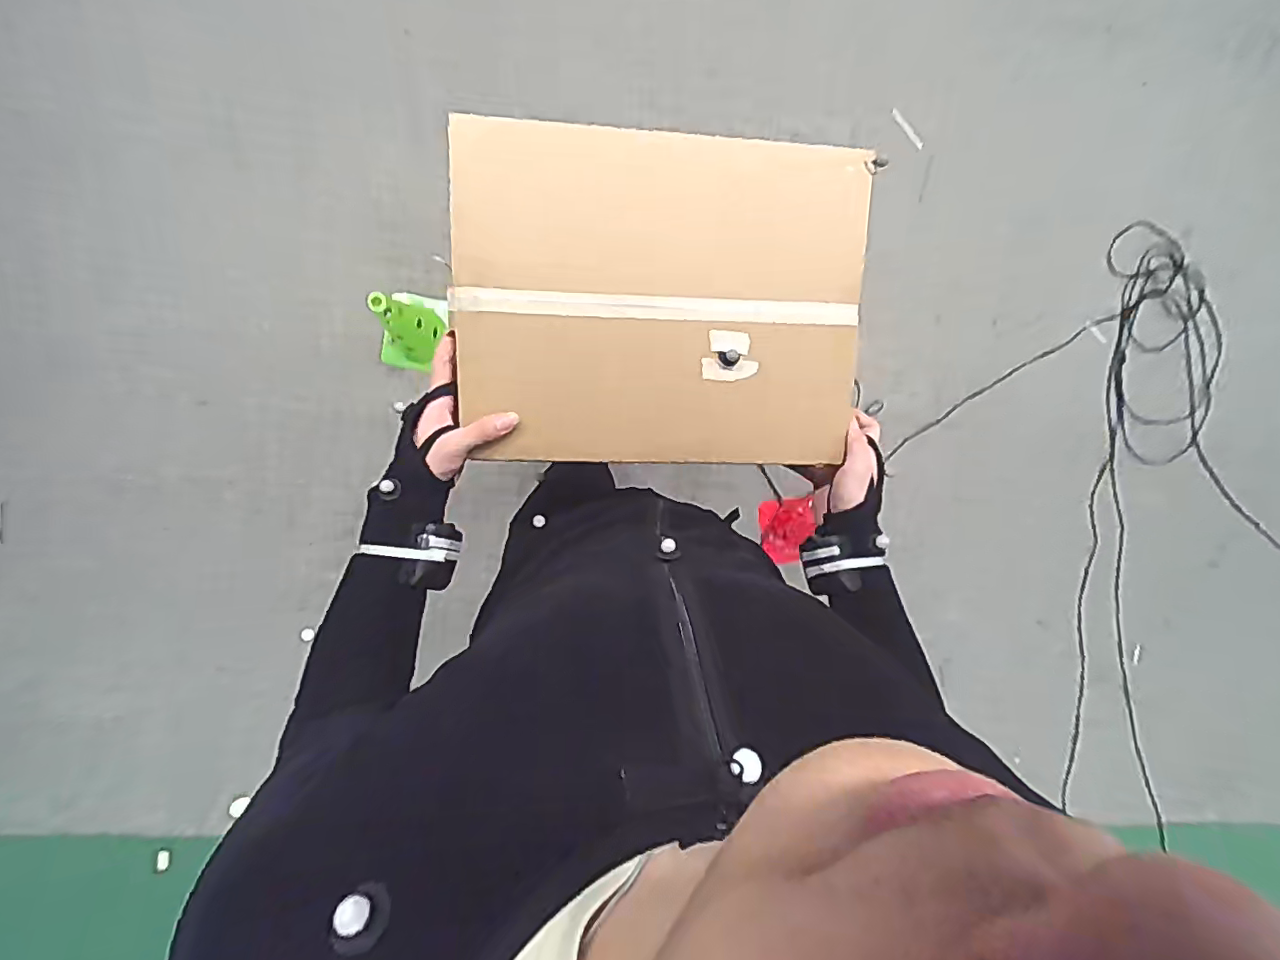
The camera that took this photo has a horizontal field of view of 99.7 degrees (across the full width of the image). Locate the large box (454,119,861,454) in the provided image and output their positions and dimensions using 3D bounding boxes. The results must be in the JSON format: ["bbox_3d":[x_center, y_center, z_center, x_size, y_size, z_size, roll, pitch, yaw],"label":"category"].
[{"bbox_3d":[0.004,-0.208,0.689,0.408,0.320,0.320,0,101,-7],"label":"large box"}]

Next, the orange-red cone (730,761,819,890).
[{"bbox_3d":[0.414,0.998,1.530,0.199,0.360,0.198,11,93,-8],"label":"orange-red cone"}]

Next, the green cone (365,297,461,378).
[{"bbox_3d":[-0.597,-0.384,1.345,0.200,0.368,0.202,9,93,-6],"label":"green cone"}]
